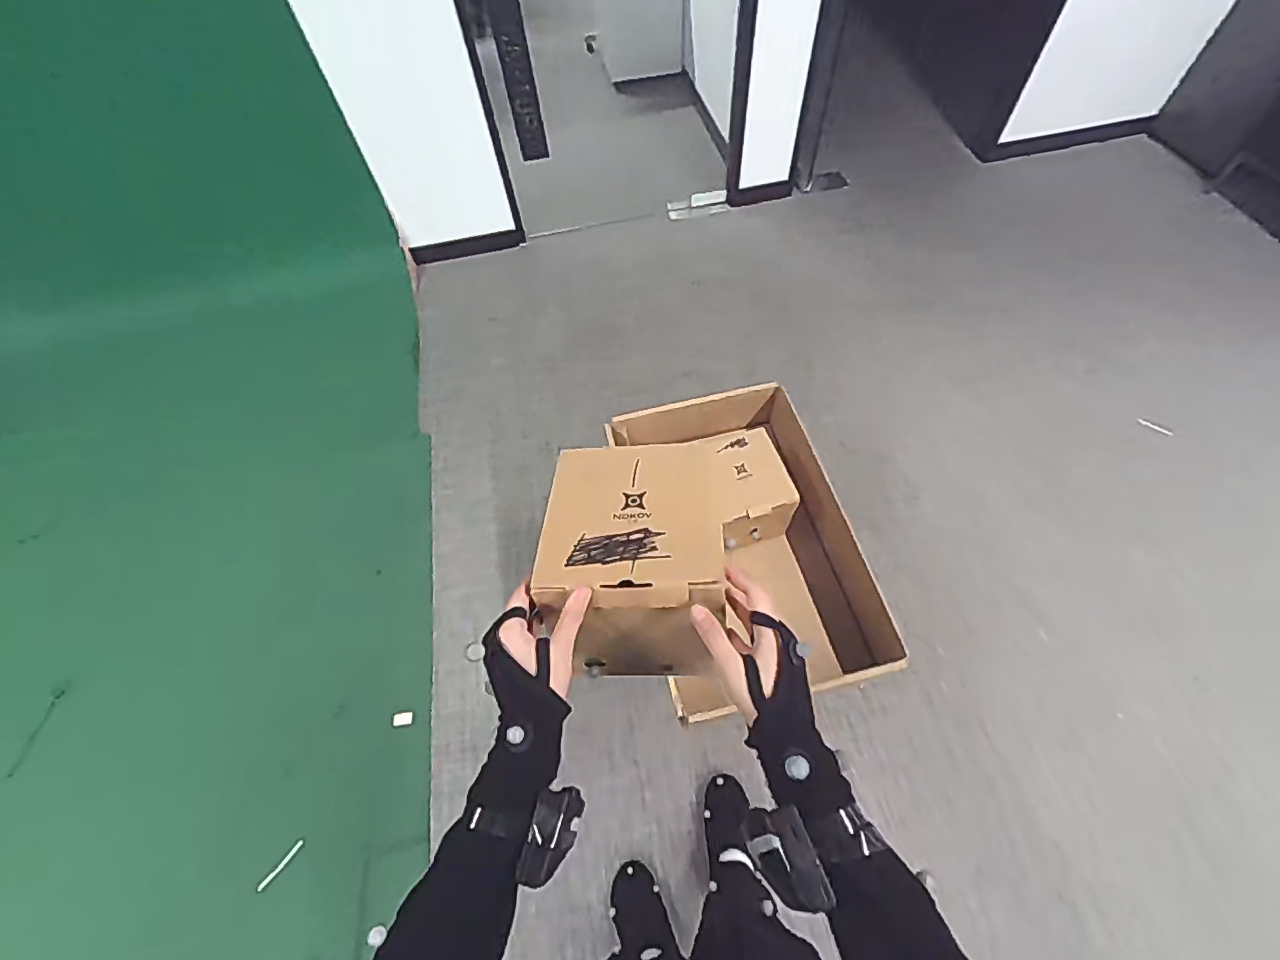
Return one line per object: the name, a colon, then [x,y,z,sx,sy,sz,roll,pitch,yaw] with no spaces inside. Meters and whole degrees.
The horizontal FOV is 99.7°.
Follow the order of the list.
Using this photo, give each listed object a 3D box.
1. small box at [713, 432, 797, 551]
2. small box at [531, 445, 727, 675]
small box: [0.196,0.033,1.105,0.168,0.176,0.179,-15,62,-7]
small box: [0.003,0.085,0.557,0.168,0.176,0.179,-2,45,7]
